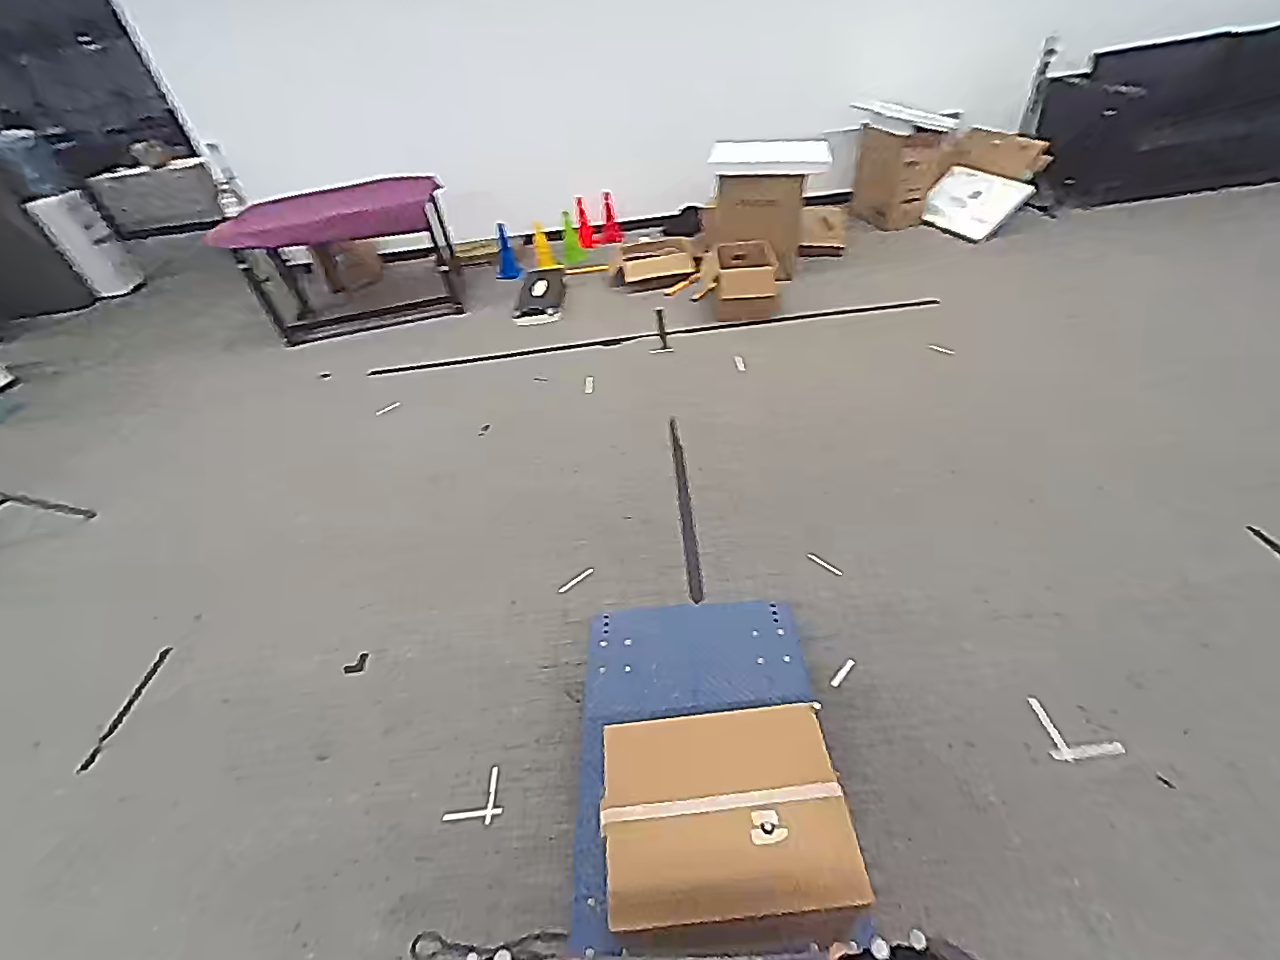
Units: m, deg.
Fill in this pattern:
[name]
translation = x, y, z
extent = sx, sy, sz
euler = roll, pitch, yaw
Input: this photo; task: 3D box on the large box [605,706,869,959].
[large box]
translation = 0.155, 0.675, 1.031
extent = 0.408, 0.320, 0.320
euler = -7, 42, 0
